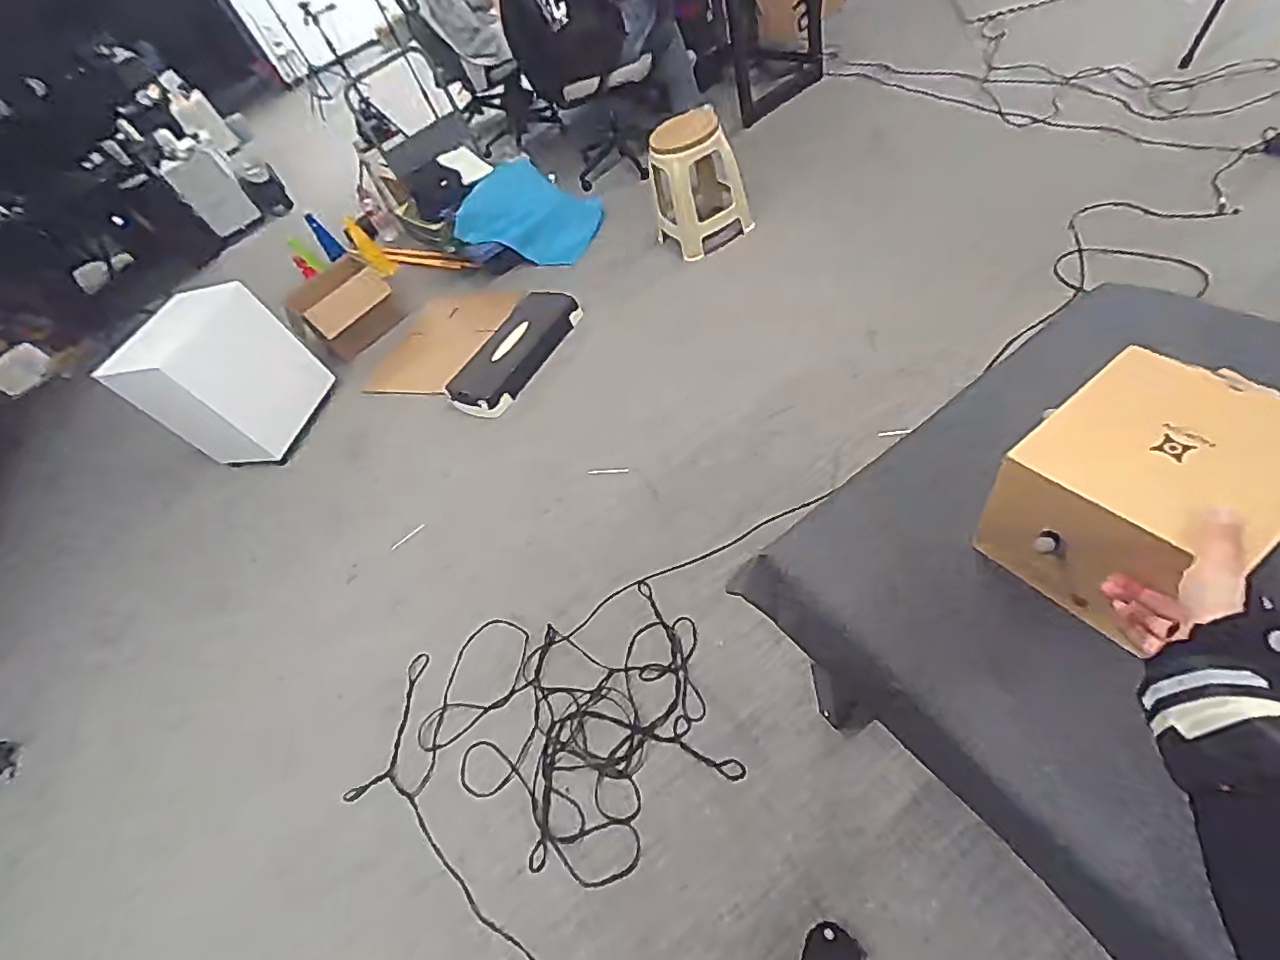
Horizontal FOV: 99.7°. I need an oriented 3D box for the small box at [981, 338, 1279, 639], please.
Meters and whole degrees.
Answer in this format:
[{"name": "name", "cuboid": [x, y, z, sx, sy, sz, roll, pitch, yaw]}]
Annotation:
[{"name": "small box", "cuboid": [0.445, 0.011, 0.491, 0.179, 0.176, 0.168, -37, 51, -10]}]
